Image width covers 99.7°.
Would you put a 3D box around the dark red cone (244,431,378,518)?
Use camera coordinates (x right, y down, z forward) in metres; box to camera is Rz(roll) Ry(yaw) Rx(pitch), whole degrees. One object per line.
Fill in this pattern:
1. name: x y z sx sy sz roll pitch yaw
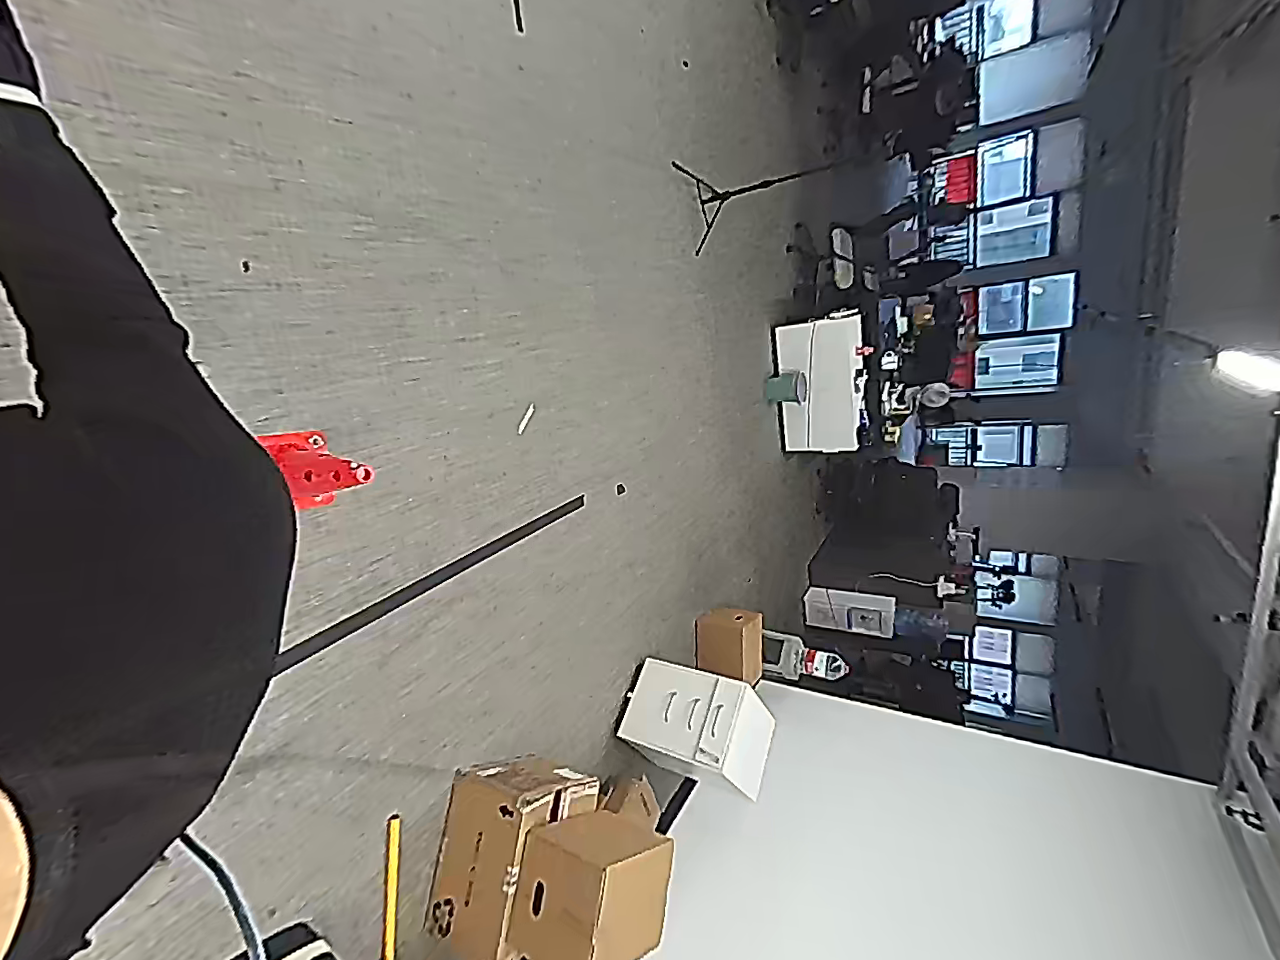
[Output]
1. dark red cone: -0.740 -0.015 1.272 0.201 0.394 0.202 -19 107 -54
